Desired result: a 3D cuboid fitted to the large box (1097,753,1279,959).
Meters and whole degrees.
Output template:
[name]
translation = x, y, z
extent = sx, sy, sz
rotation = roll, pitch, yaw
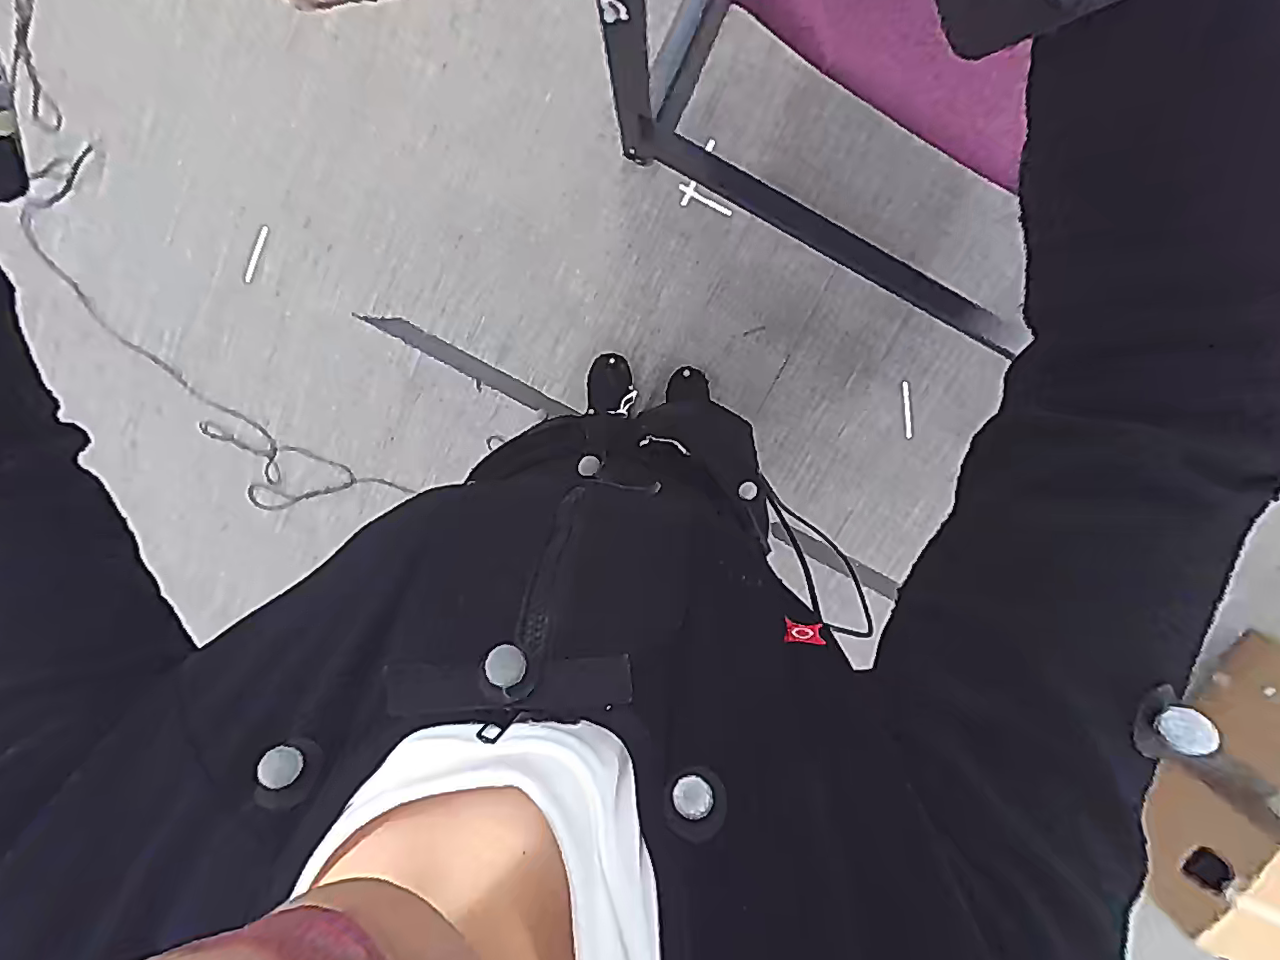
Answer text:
[large box]
translation = 1.534, 0.988, 1.375
extent = 0.408, 0.320, 0.320
rotation = 26, 101, -2
